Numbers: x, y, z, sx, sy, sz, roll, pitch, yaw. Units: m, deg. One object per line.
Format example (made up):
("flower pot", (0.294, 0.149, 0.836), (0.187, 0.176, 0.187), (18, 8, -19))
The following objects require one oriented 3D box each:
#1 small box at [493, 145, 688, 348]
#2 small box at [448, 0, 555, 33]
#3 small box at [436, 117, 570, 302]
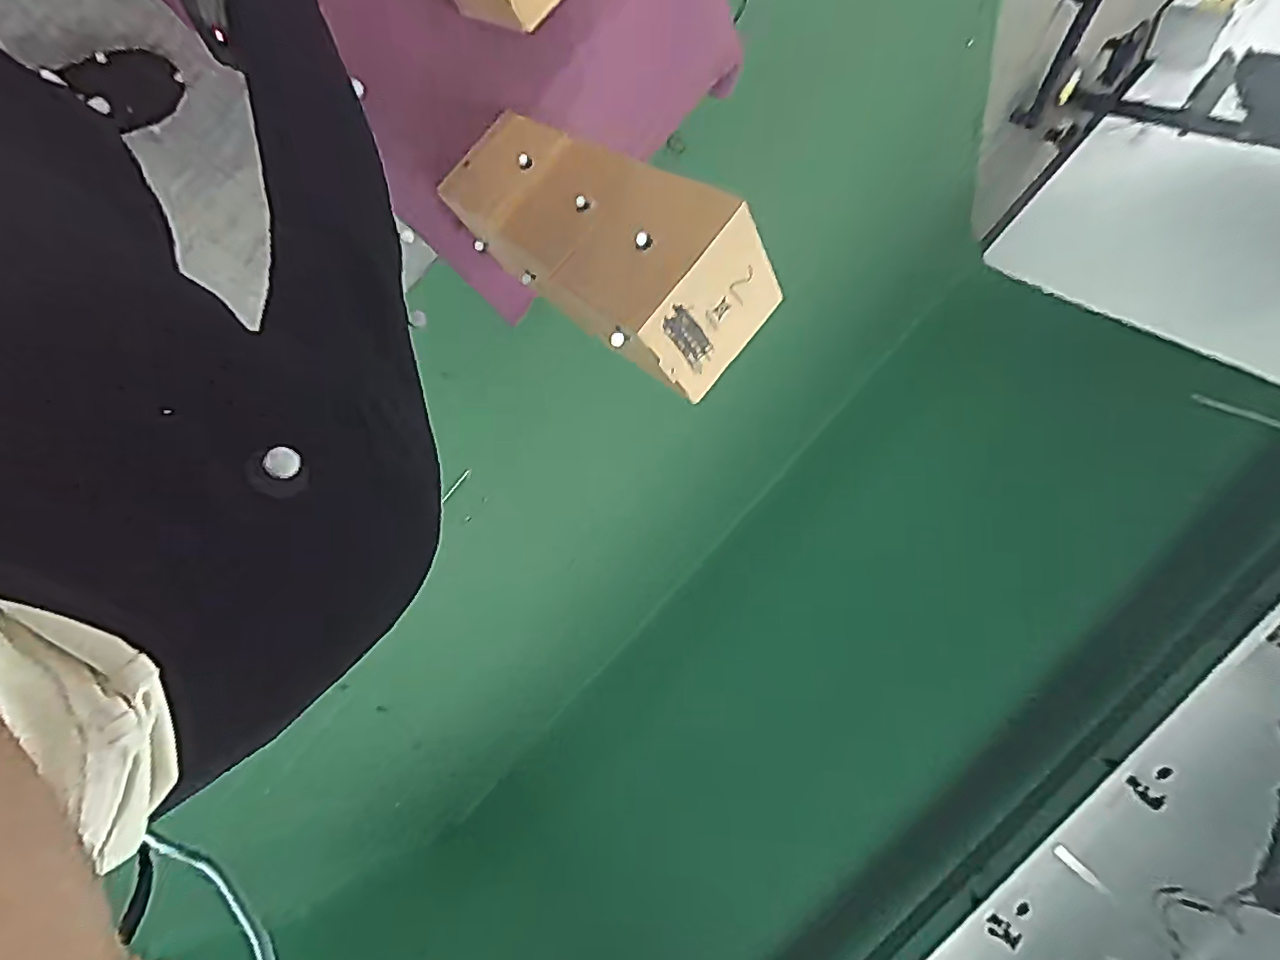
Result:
("small box", (-0.069, -0.327, 0.756), (0.179, 0.176, 0.168), (-48, 146, 0))
("small box", (-0.159, -0.654, 0.599), (0.179, 0.176, 0.168), (-46, 148, 0))
("small box", (-0.174, -0.418, 0.841), (0.168, 0.176, 0.179), (-48, 148, 0))
